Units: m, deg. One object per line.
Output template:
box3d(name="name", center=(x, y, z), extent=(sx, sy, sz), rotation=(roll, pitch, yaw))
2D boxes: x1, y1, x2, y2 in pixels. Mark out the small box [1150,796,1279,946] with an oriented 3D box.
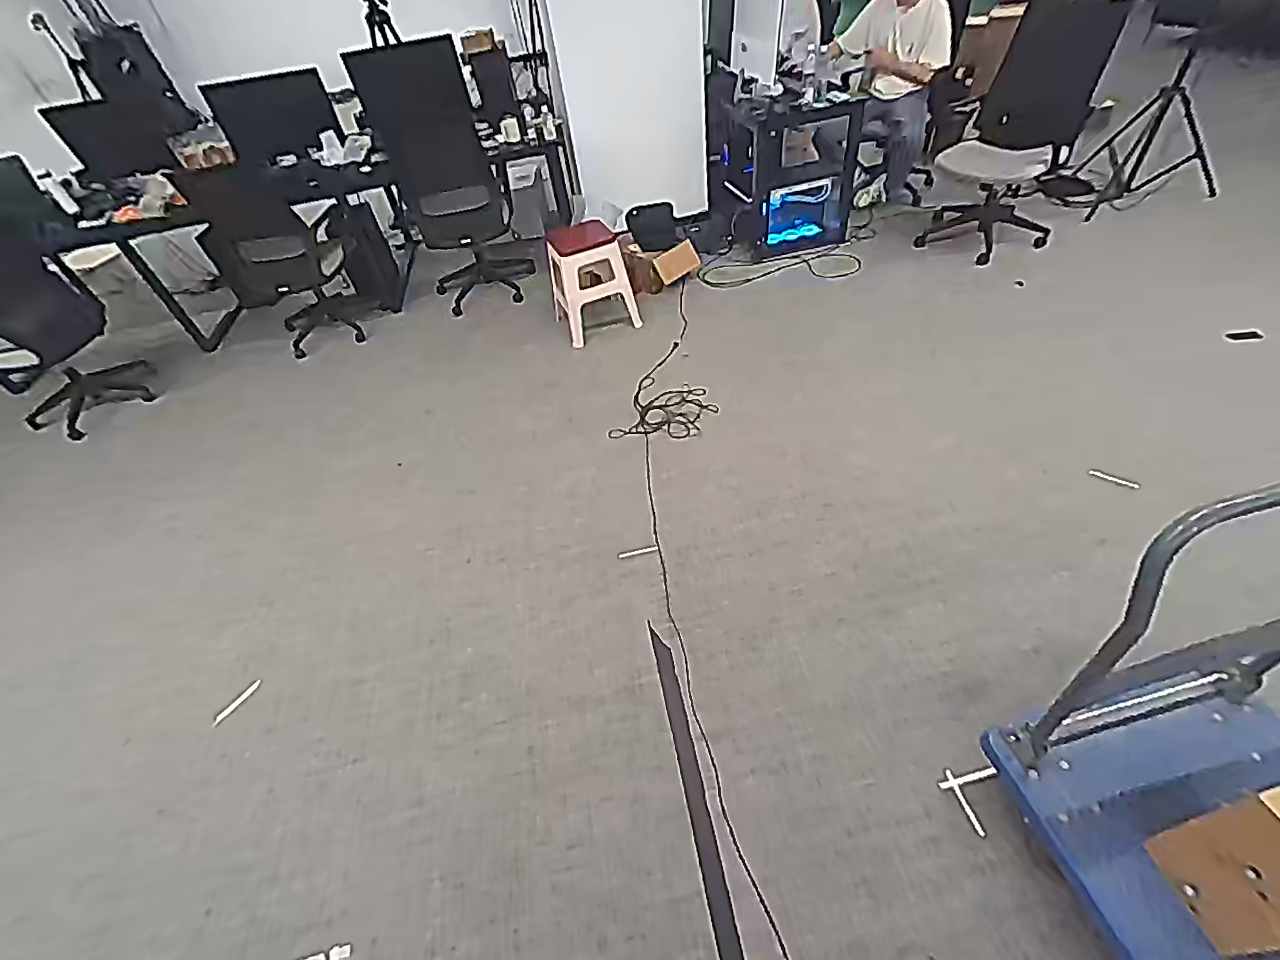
box3d(name="small box", center=(1.031, 0.652, 0.902), extent=(0.179, 0.176, 0.168), rotation=(-12, 44, -1))
